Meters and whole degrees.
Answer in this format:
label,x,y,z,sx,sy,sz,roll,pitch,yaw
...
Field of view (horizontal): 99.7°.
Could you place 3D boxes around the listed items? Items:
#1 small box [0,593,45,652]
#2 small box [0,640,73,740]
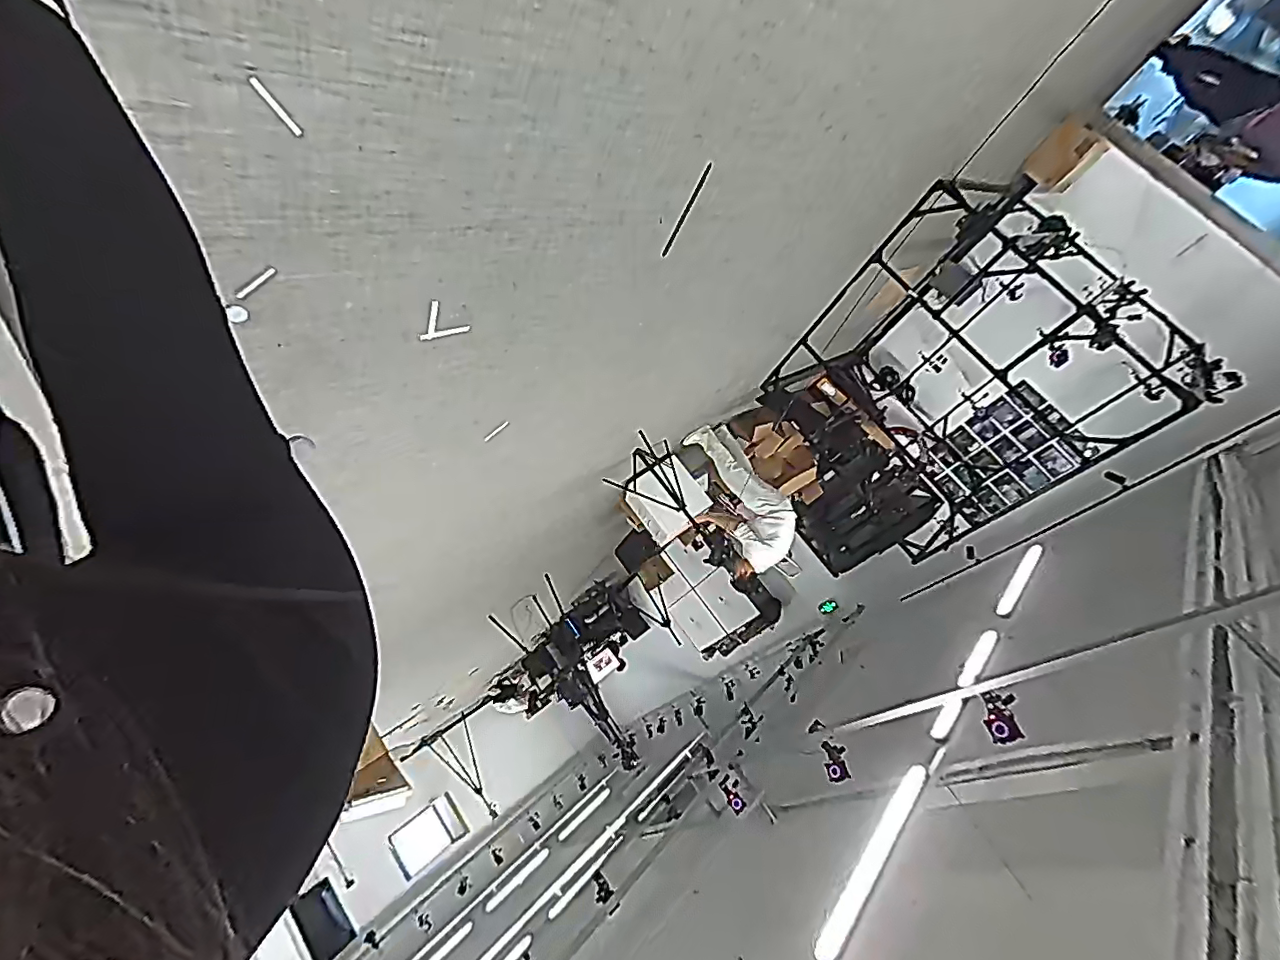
label,x,y,z,sx,sy,sz,roll,pitch,yaw
small box,-1.766,0.437,1.464,0.168,0.176,0.179,-27,161,-42
small box,-1.663,0.557,1.423,0.179,0.176,0.168,-27,162,-41
